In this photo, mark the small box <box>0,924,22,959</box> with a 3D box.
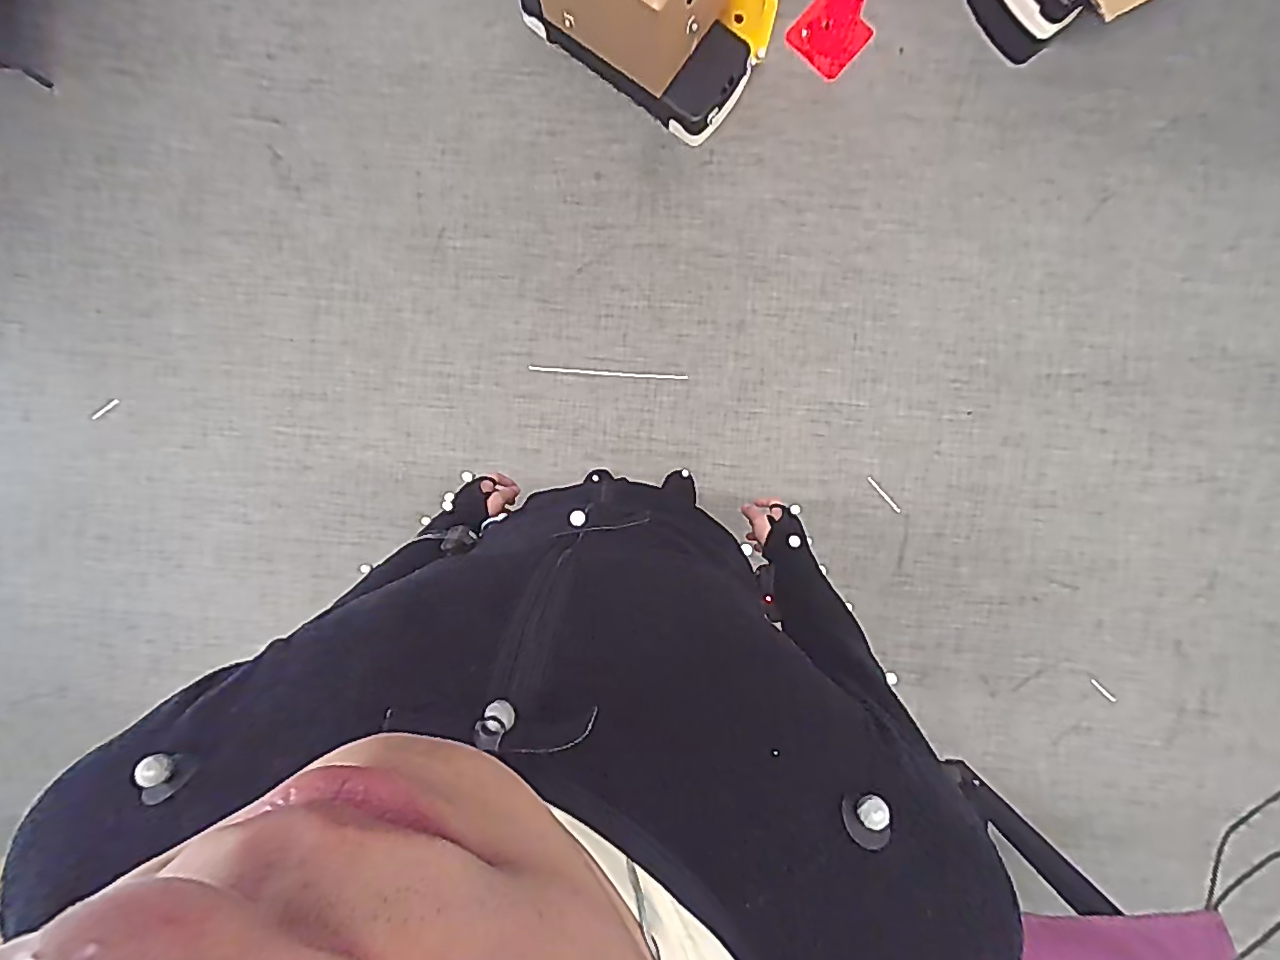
[{"bbox_3d":[-1.548,1.118,1.190,0.179,0.176,0.168,6,90,0],"label":"small box"}]
